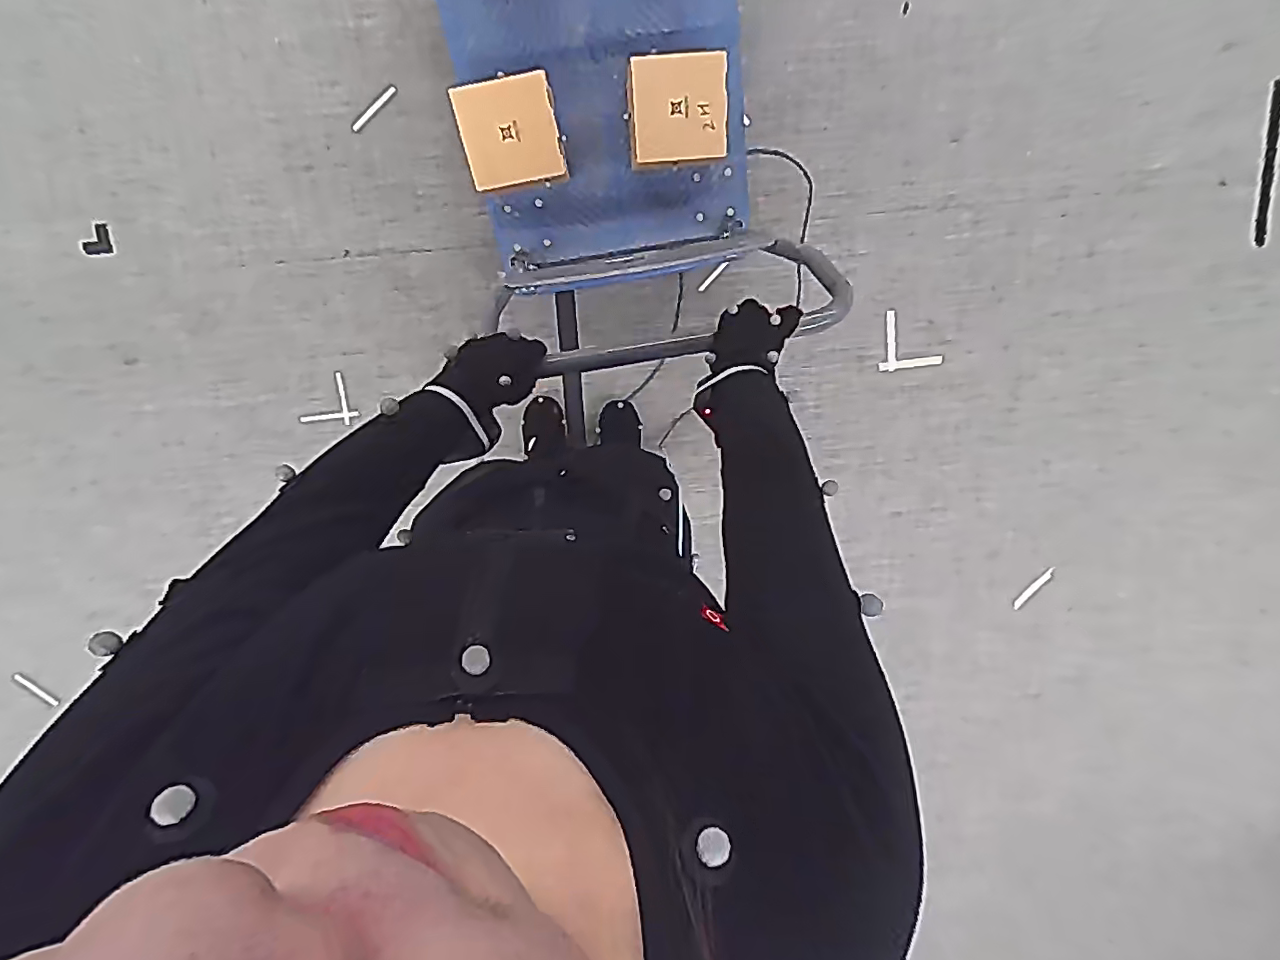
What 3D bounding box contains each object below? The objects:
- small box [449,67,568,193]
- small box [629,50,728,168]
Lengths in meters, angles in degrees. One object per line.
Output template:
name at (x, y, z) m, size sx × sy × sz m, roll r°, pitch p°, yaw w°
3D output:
small box at (-0.245, -0.670, 1.055) m, size 0.179 × 0.176 × 0.168 m, roll -12°, pitch 116°, yaw -1°
small box at (0.069, -0.716, 1.060) m, size 0.179 × 0.176 × 0.168 m, roll -5°, pitch 116°, yaw -3°
